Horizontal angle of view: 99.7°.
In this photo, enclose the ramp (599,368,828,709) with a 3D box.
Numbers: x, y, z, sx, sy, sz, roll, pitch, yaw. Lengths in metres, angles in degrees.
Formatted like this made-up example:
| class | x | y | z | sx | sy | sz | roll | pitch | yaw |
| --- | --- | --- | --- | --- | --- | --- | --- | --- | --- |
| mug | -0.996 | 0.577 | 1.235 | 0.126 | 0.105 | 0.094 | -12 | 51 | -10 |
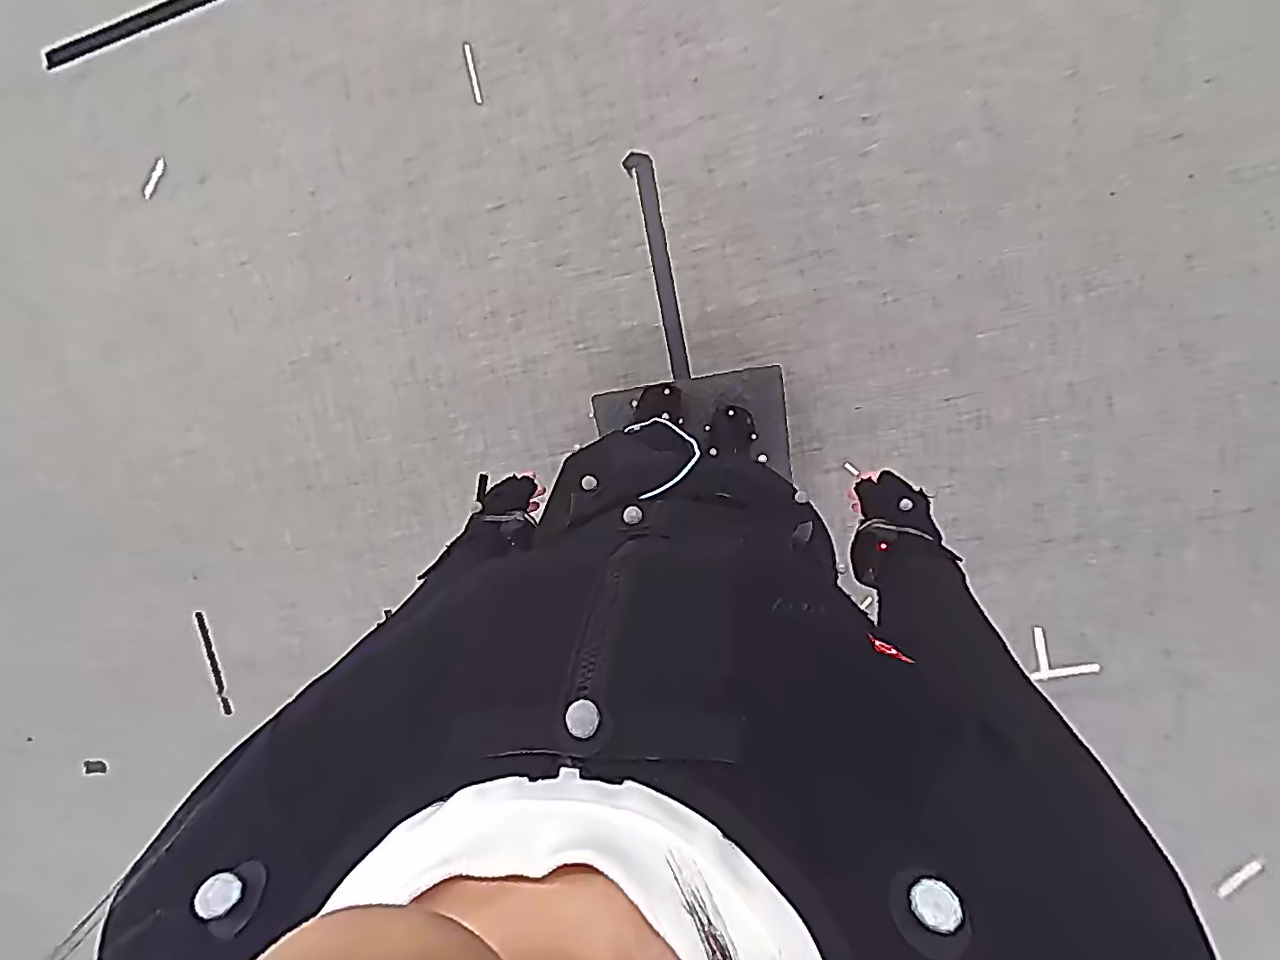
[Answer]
| class | x | y | z | sx | sy | sz | roll | pitch | yaw |
| --- | --- | --- | --- | --- | --- | --- | --- | --- | --- |
| ramp | 0.231 | 0.220 | 1.528 | 0.509 | 0.206 | 0.991 | -11 | 97 | 9 |
